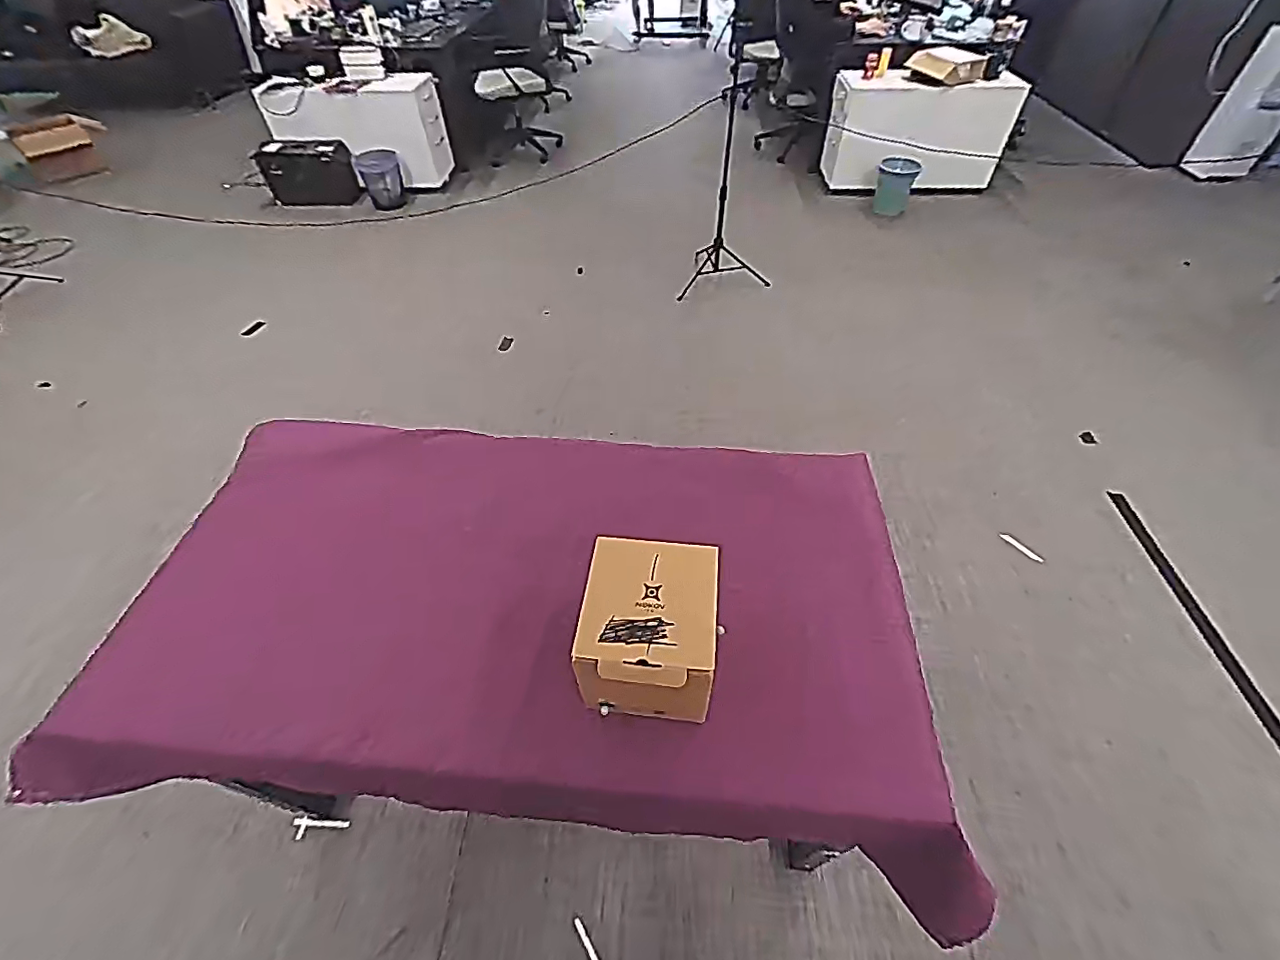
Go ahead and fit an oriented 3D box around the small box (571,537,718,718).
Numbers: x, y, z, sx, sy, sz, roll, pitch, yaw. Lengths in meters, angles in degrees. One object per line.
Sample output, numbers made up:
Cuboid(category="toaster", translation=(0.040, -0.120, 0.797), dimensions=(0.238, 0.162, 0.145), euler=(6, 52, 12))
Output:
Cuboid(category="small box", translation=(0.013, 0.201, 0.728), dimensions=(0.168, 0.176, 0.179), euler=(5, 48, 6))
